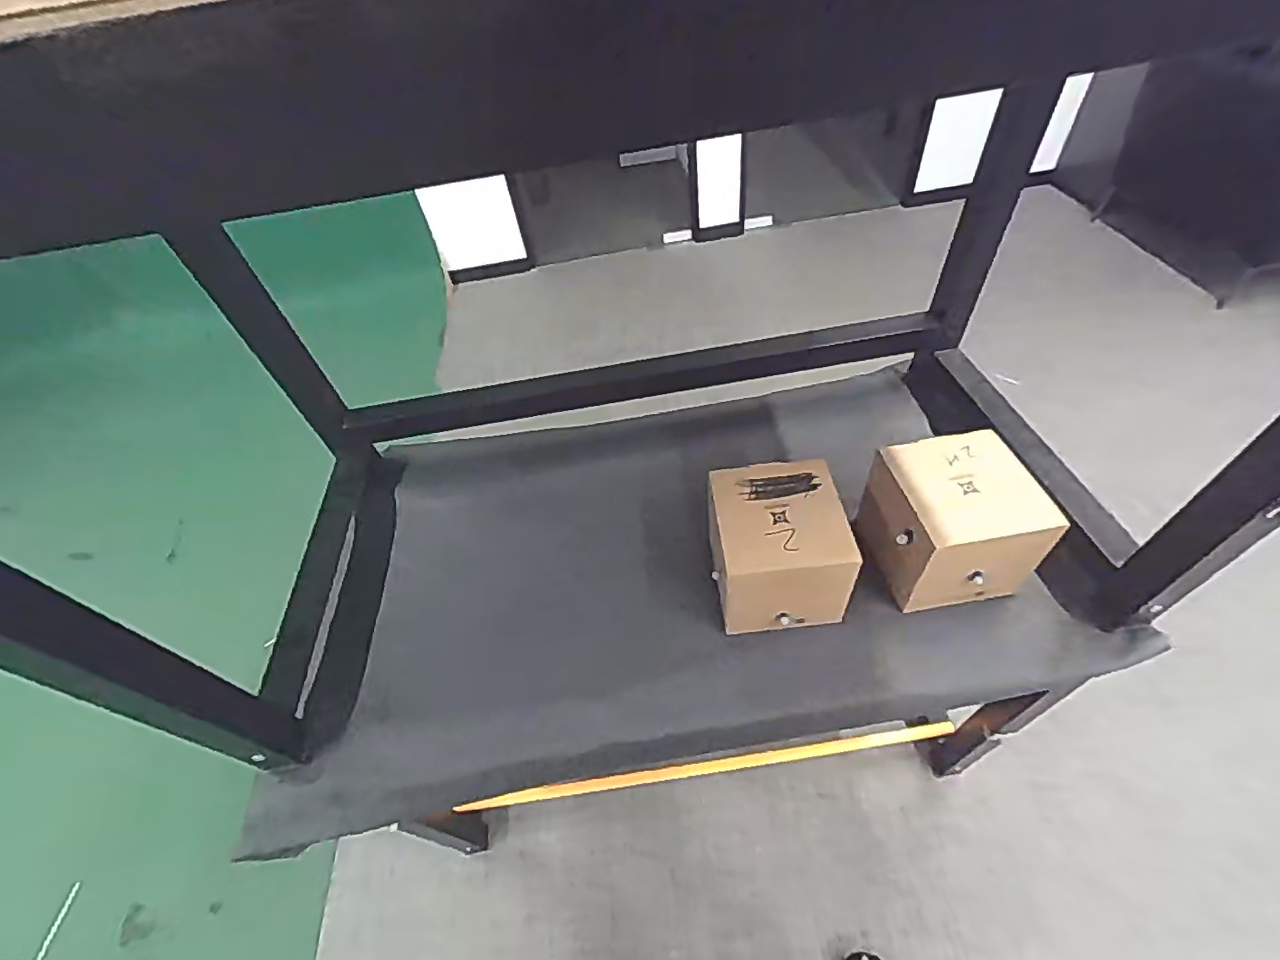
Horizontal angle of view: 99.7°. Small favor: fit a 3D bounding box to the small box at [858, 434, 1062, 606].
[{"bbox_3d":[0.433,0.064,0.769,0.168,0.176,0.179,-10,47,0],"label":"small box"}]
